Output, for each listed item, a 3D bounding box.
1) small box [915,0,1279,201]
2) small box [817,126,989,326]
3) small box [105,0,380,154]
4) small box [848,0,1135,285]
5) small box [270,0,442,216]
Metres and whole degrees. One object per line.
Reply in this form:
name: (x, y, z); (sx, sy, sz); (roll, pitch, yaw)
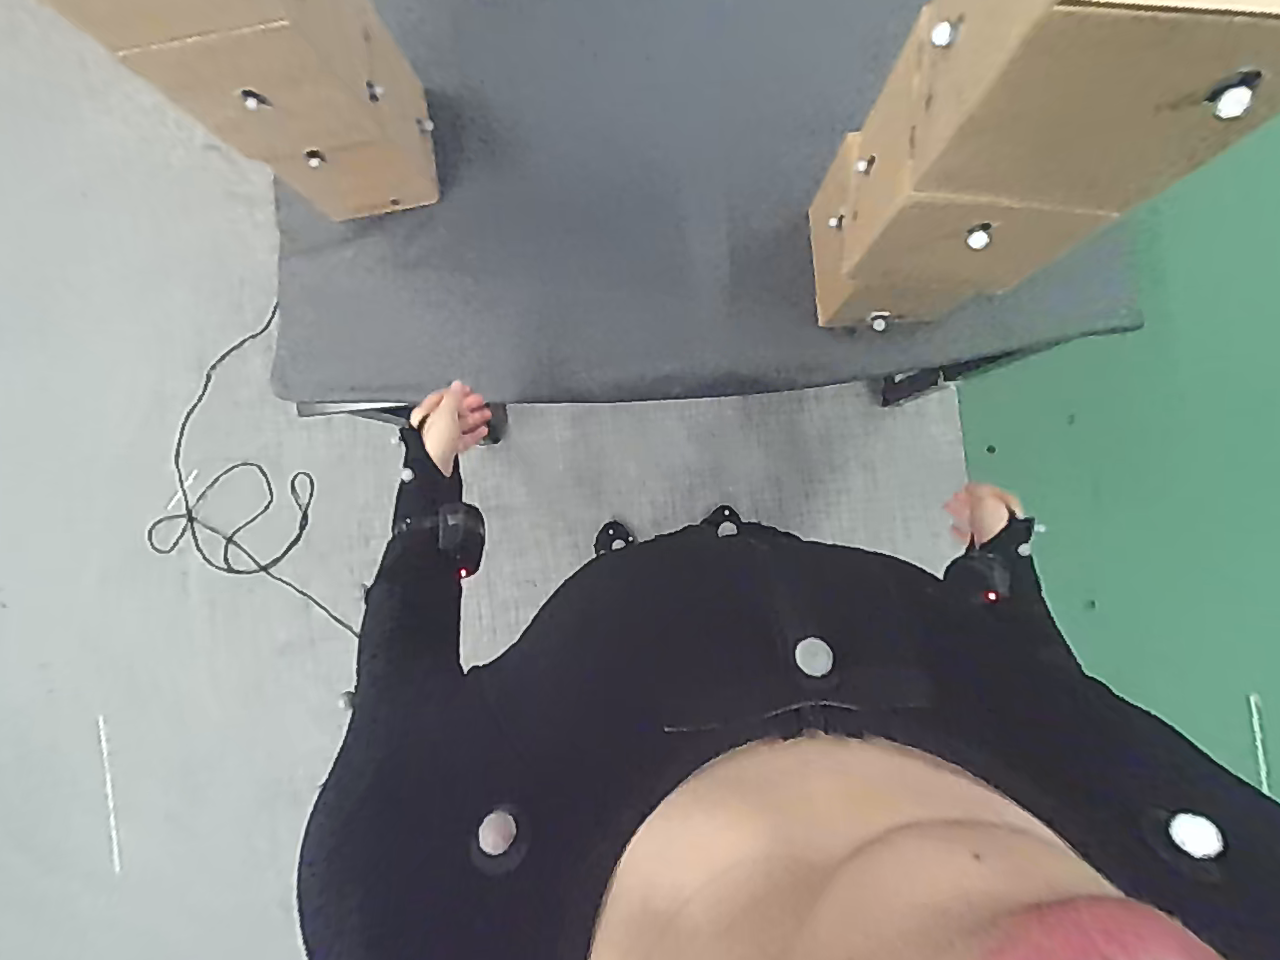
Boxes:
small box: (0.309, -0.306, 0.347); (0.179, 0.176, 0.168); (8, 88, 5)
small box: (0.327, -0.308, 0.674); (0.168, 0.176, 0.179); (-4, 89, 4)
small box: (-0.391, -0.473, 0.556); (0.179, 0.176, 0.168); (-8, 90, 3)
small box: (0.317, -0.298, 0.511); (0.179, 0.176, 0.168); (7, 88, 5)
small box: (-0.384, -0.488, 0.721); (0.168, 0.176, 0.179); (-9, 89, 3)
